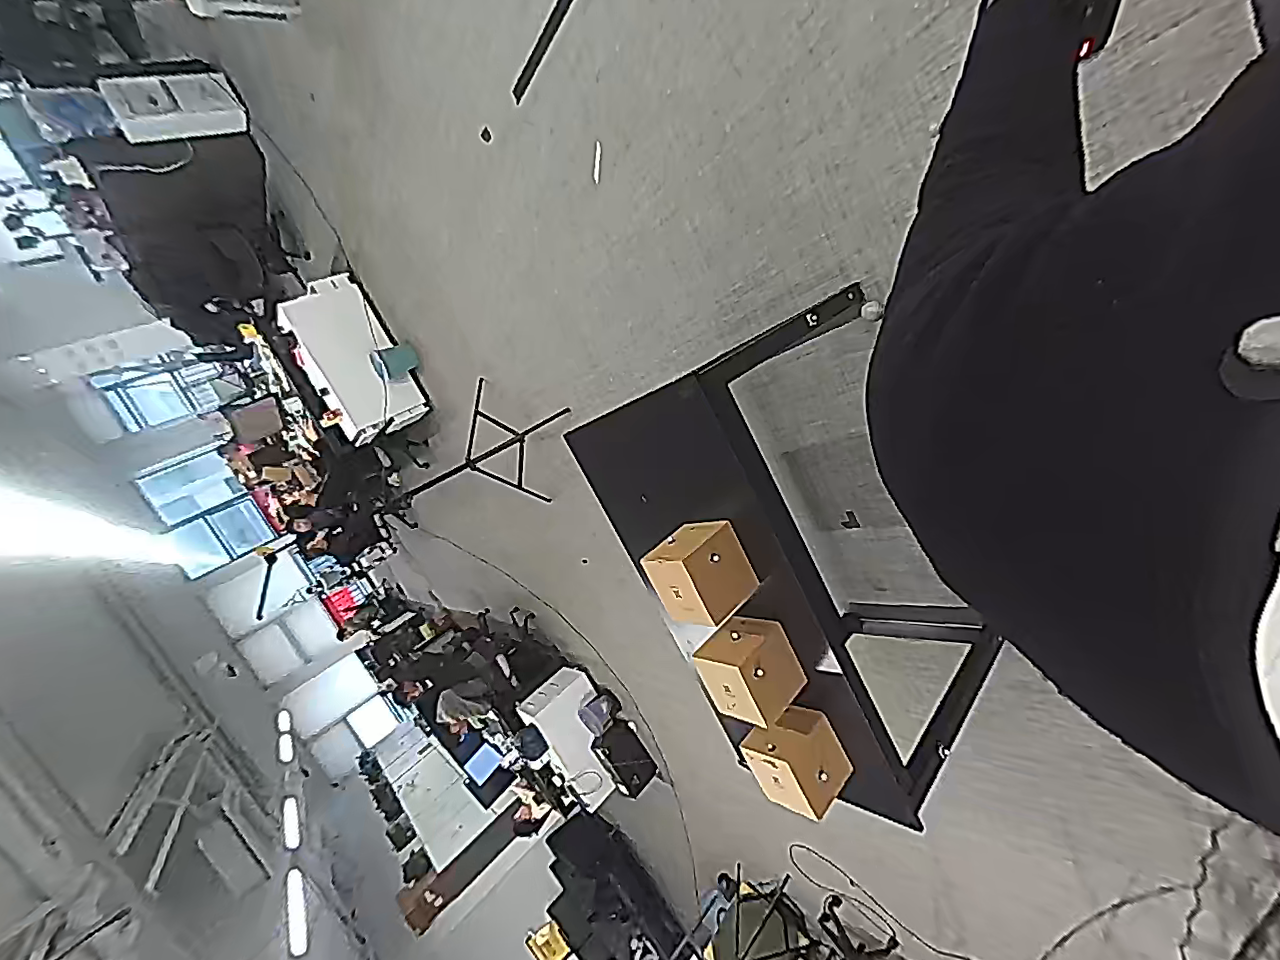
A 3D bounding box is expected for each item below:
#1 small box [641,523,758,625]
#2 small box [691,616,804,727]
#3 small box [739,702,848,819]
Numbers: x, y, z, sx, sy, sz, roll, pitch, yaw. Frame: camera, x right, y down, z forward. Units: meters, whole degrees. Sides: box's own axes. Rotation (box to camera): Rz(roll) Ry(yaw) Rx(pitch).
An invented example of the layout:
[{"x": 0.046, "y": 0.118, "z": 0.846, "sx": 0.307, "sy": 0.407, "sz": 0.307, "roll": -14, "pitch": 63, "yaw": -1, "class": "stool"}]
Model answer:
[{"x": 0.140, "y": 0.211, "z": 1.264, "sx": 0.168, "sy": 0.176, "sz": 0.179, "roll": -12, "pitch": 109, "yaw": 57, "class": "small box"}, {"x": 0.262, "y": 0.452, "z": 1.311, "sx": 0.168, "sy": 0.176, "sz": 0.179, "roll": -11, "pitch": 109, "yaw": 56, "class": "small box"}, {"x": 0.388, "y": 0.690, "z": 1.355, "sx": 0.168, "sy": 0.176, "sz": 0.179, "roll": -18, "pitch": 104, "yaw": 56, "class": "small box"}]
